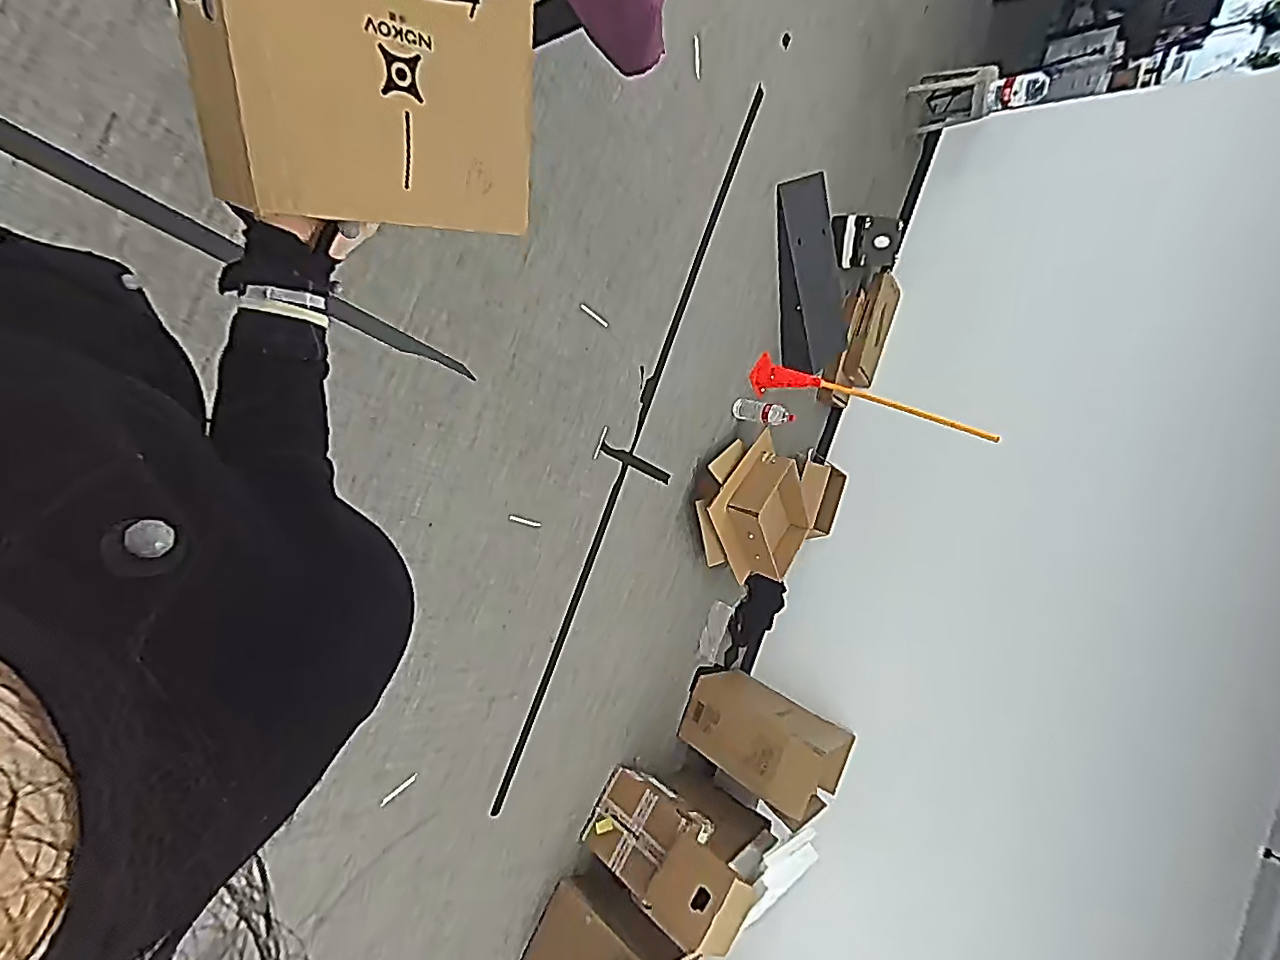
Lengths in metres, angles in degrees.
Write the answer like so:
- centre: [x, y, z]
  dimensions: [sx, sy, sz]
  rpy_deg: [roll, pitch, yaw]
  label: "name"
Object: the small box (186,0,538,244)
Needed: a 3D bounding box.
- centre: [-0.186, -0.268, 0.364]
  dimensions: [0.168, 0.176, 0.179]
  rpy_deg: [-15, 124, -39]
  label: "small box"
